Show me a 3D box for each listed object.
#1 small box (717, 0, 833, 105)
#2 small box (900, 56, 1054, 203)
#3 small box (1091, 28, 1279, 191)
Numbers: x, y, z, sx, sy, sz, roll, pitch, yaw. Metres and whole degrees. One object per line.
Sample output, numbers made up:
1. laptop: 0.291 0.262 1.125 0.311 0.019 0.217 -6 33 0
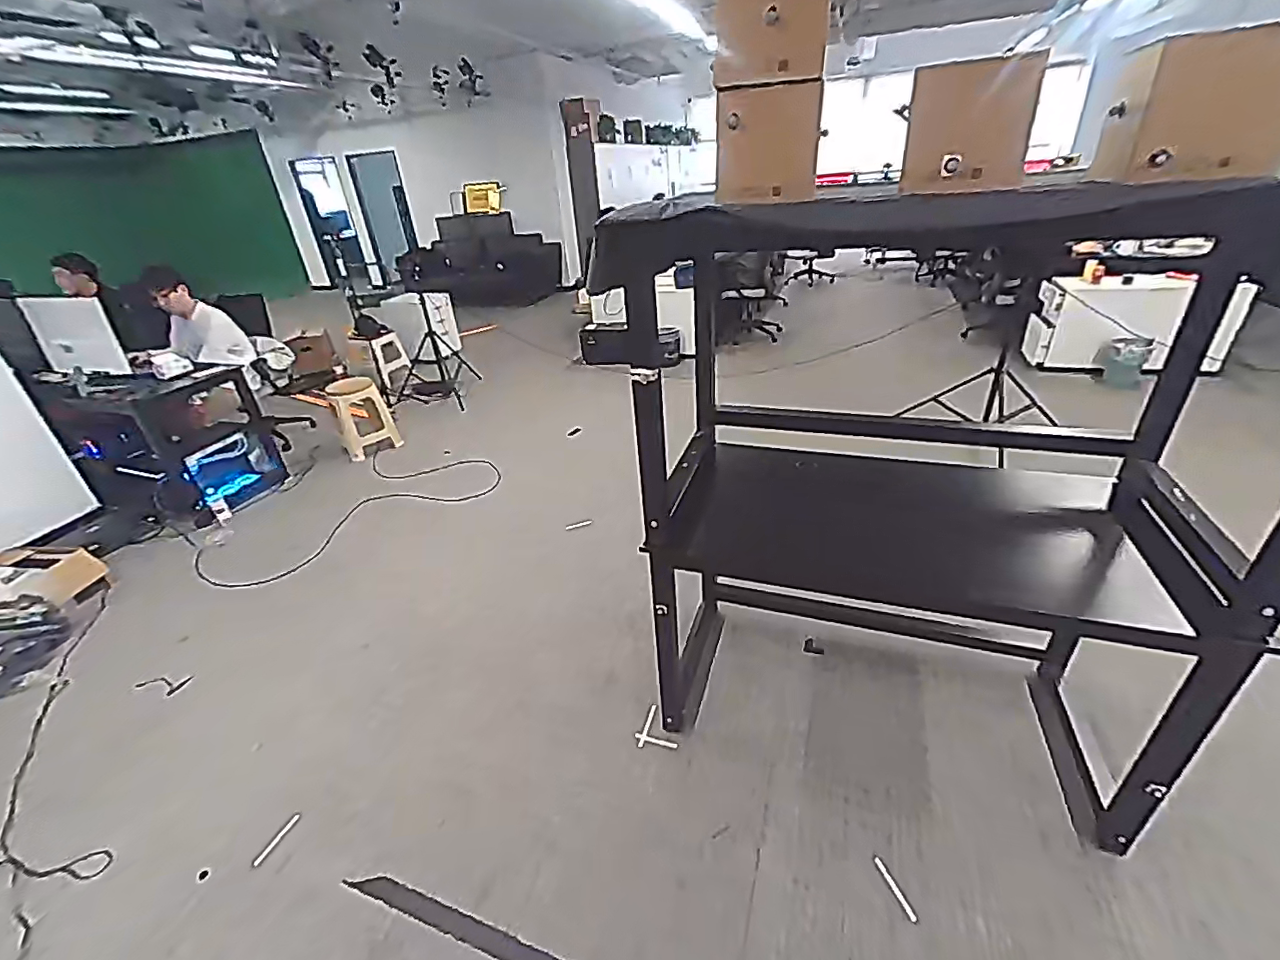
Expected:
1. small box: 0.212 -0.705 0.851 0.168 0.176 0.179 5 30 13
2. small box: 0.506 -0.531 0.841 0.168 0.176 0.179 7 31 22
3. small box: 0.774 -0.504 0.753 0.168 0.176 0.179 8 31 21
